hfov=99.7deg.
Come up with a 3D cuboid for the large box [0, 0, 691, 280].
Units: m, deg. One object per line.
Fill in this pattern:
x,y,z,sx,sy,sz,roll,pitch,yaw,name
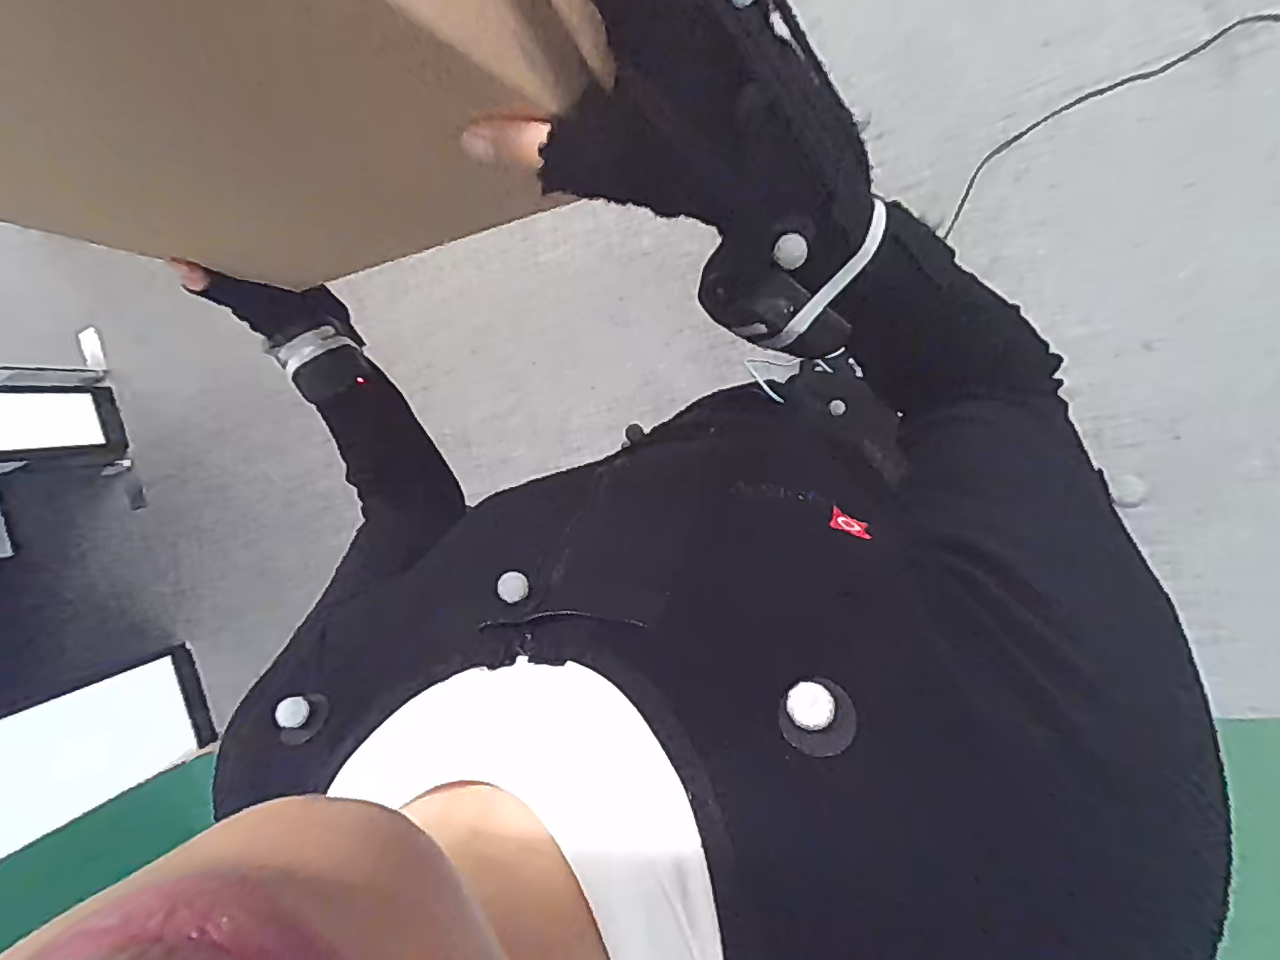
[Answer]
-0.218,-0.311,0.233,0.408,0.320,0.320,6,94,37,large box
